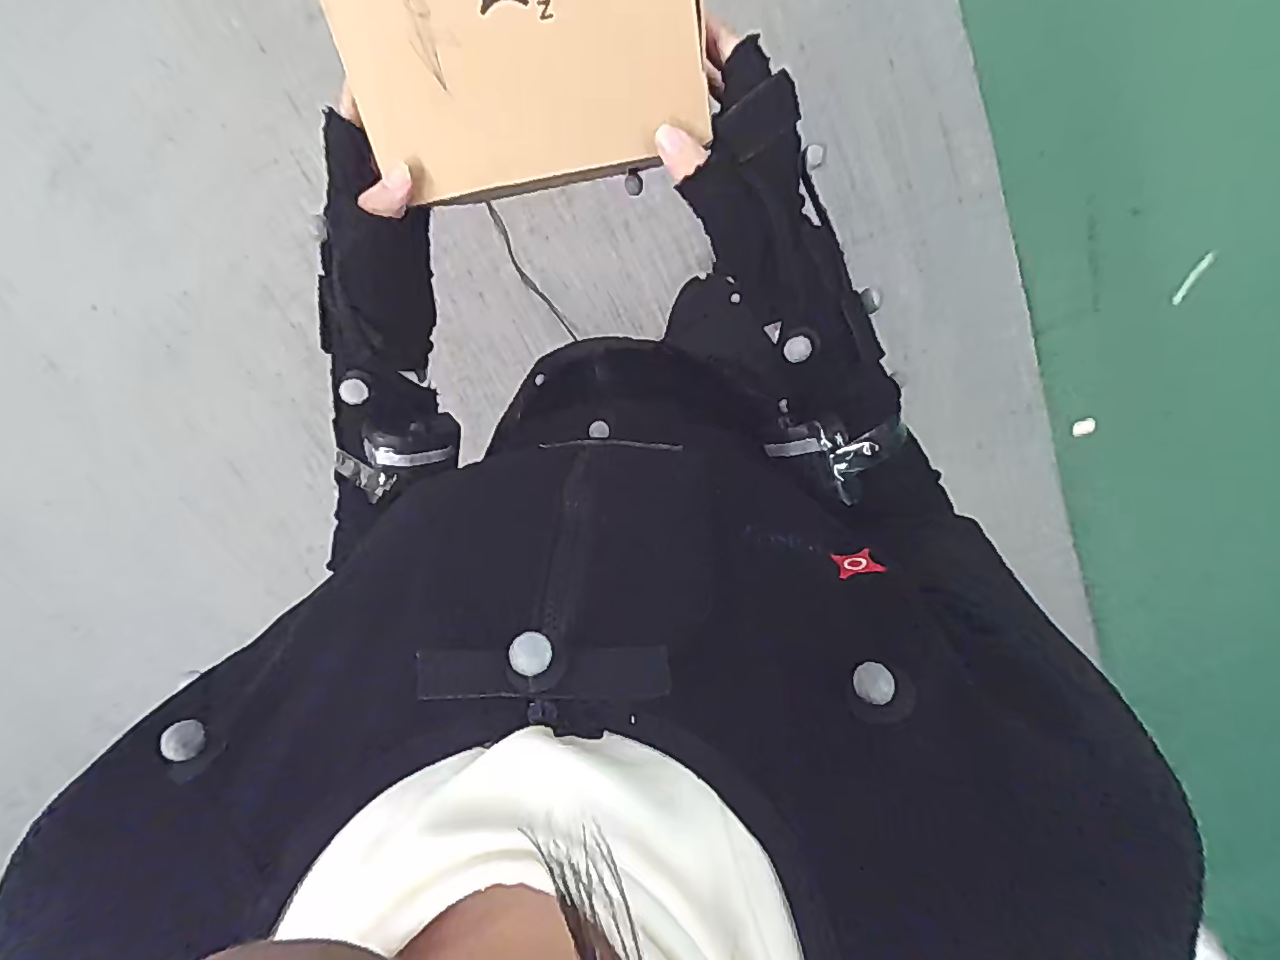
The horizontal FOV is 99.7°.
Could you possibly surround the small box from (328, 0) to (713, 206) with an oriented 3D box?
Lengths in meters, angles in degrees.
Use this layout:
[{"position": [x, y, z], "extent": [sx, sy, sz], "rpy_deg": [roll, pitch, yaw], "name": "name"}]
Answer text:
[{"position": [-0.063, -0.274, 0.324], "extent": [0.179, 0.176, 0.168], "rpy_deg": [-11, 116, 5], "name": "small box"}]
